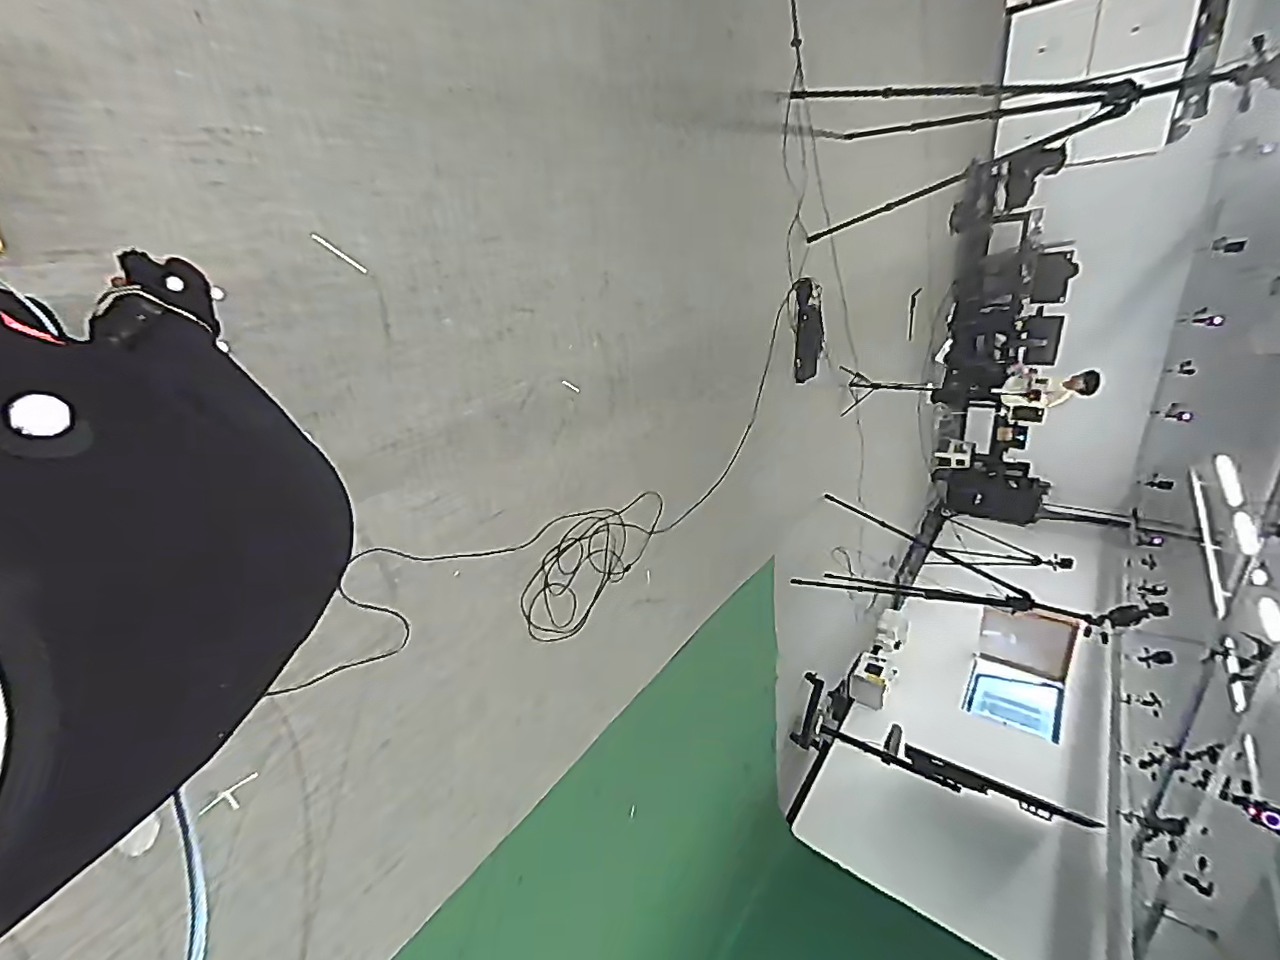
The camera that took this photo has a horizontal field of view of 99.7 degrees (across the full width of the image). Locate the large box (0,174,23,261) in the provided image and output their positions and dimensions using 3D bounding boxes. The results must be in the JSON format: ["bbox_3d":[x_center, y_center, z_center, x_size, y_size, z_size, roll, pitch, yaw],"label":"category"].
[{"bbox_3d":[-1.148,-0.467,0.701,0.408,0.320,0.320,-17,113,-47],"label":"large box"}]
